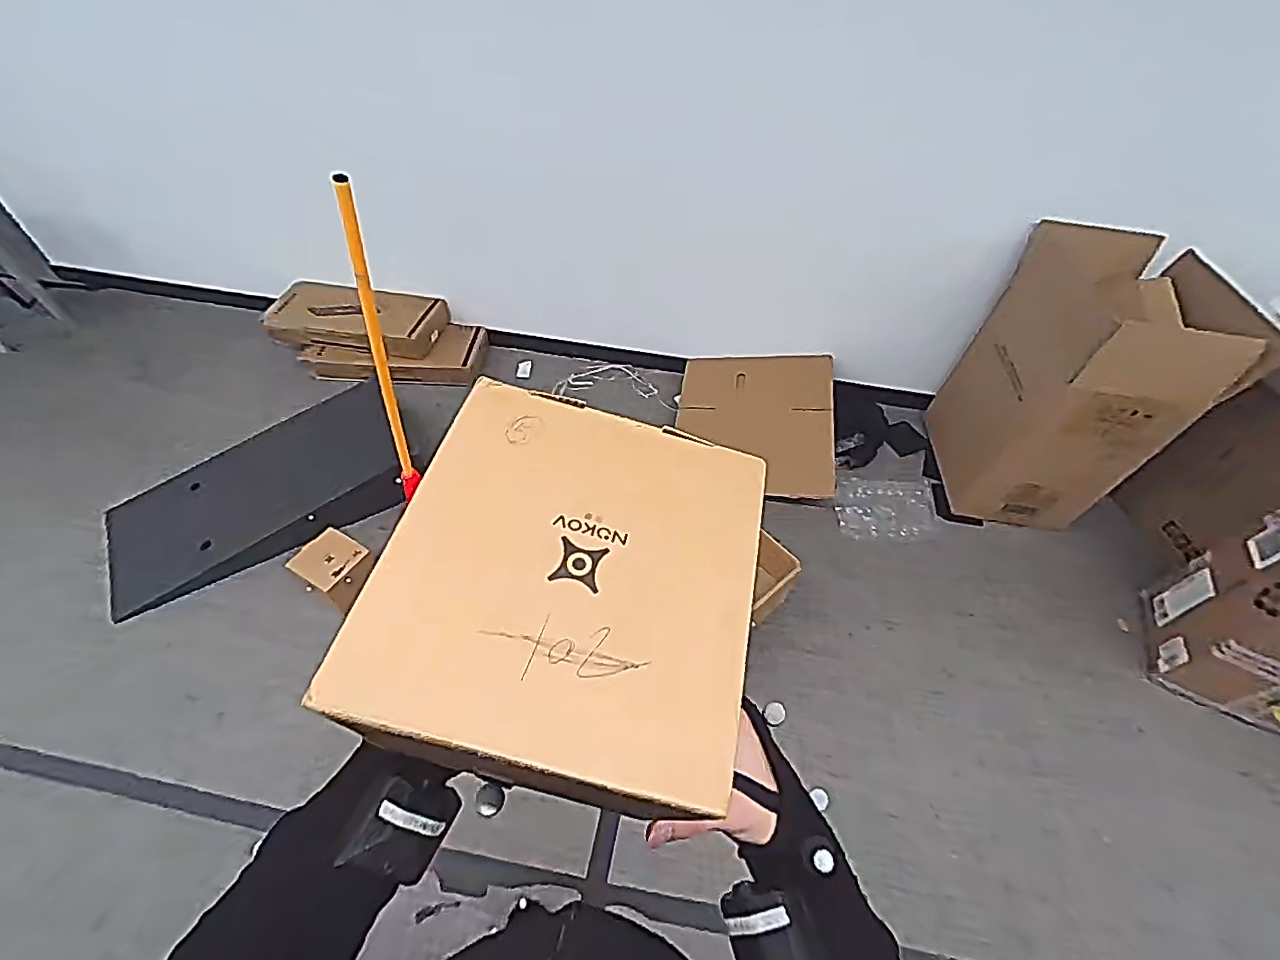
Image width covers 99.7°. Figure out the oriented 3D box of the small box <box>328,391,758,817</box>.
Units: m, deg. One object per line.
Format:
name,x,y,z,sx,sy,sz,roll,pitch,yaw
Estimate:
small box,-0.043,0.083,0.326,0.168,0.176,0.179,17,57,-2
